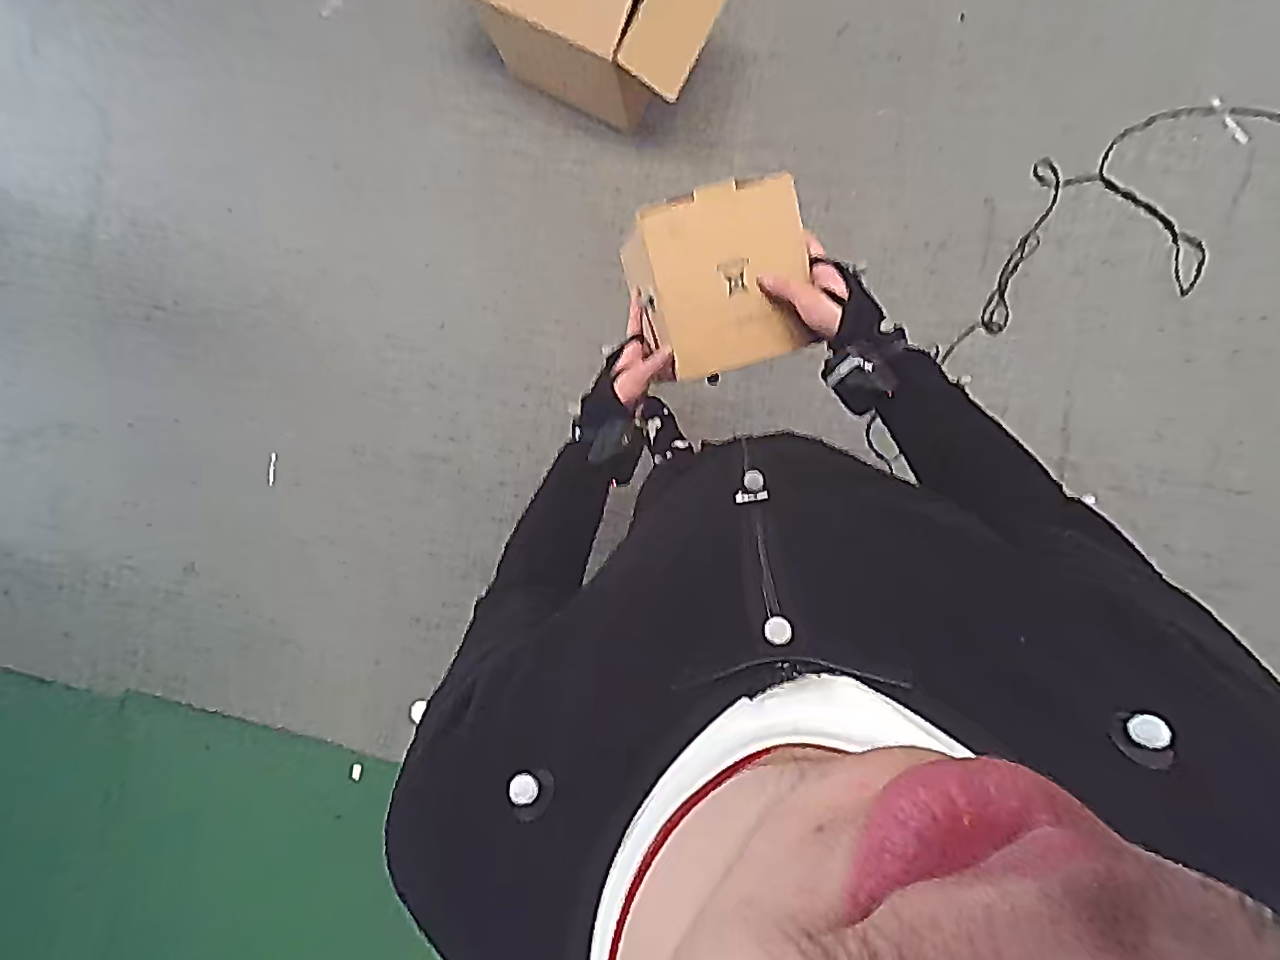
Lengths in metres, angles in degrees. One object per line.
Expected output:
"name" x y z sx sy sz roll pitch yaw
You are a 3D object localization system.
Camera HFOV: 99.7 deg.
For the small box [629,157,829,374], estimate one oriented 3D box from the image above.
"small box" 0.088 -0.225 0.610 0.168 0.176 0.179 -13 100 -4
